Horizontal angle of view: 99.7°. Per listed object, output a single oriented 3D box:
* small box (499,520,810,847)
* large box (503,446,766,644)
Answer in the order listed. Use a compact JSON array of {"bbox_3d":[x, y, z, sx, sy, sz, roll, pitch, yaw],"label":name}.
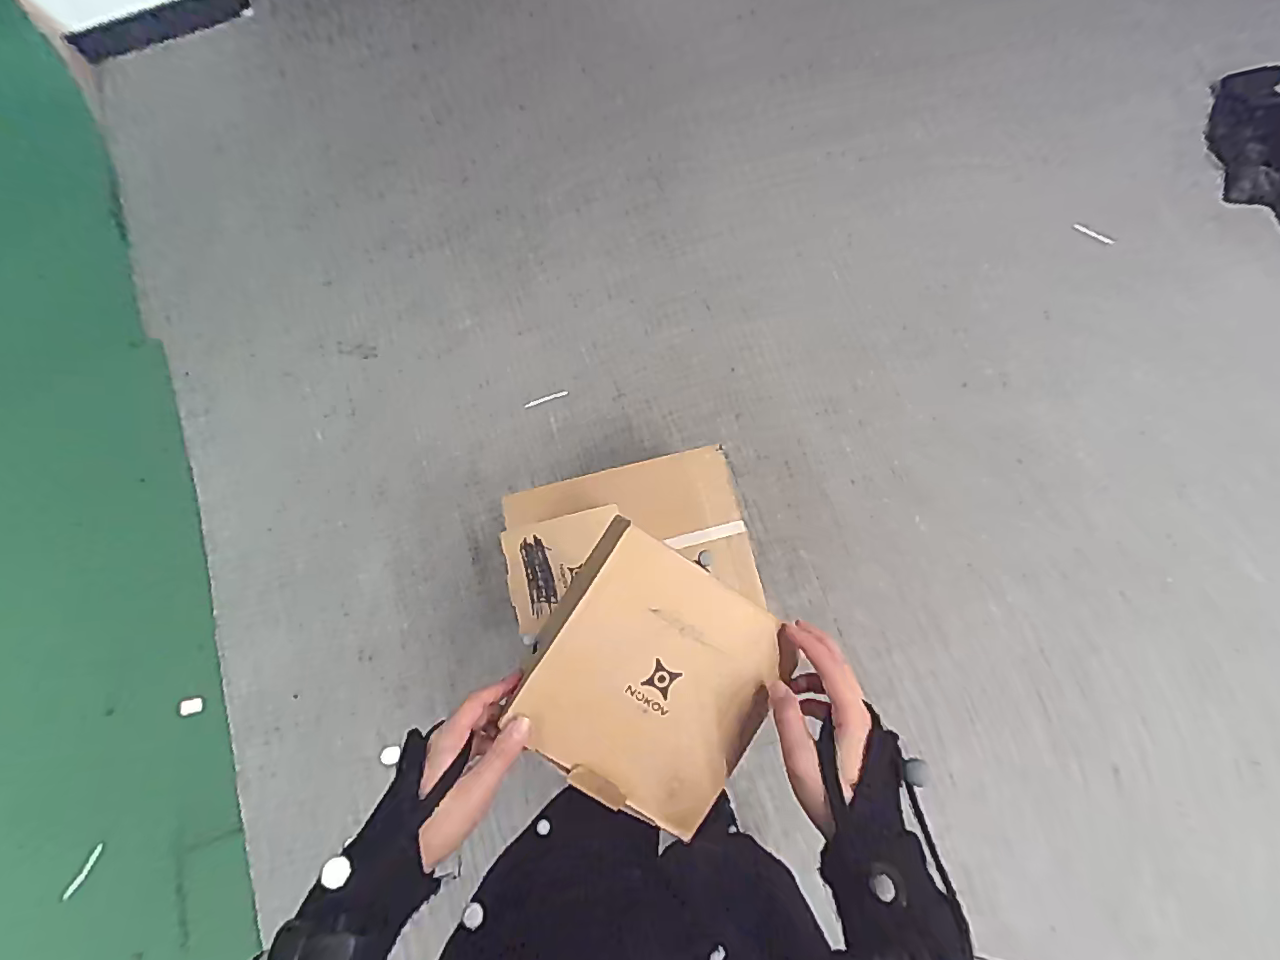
[{"bbox_3d":[0.006,0.150,0.466,0.168,0.176,0.179,34,85,-5],"label":"small box"},{"bbox_3d":[-0.014,0.164,1.075,0.408,0.320,0.320,-14,79,-2],"label":"large box"}]
